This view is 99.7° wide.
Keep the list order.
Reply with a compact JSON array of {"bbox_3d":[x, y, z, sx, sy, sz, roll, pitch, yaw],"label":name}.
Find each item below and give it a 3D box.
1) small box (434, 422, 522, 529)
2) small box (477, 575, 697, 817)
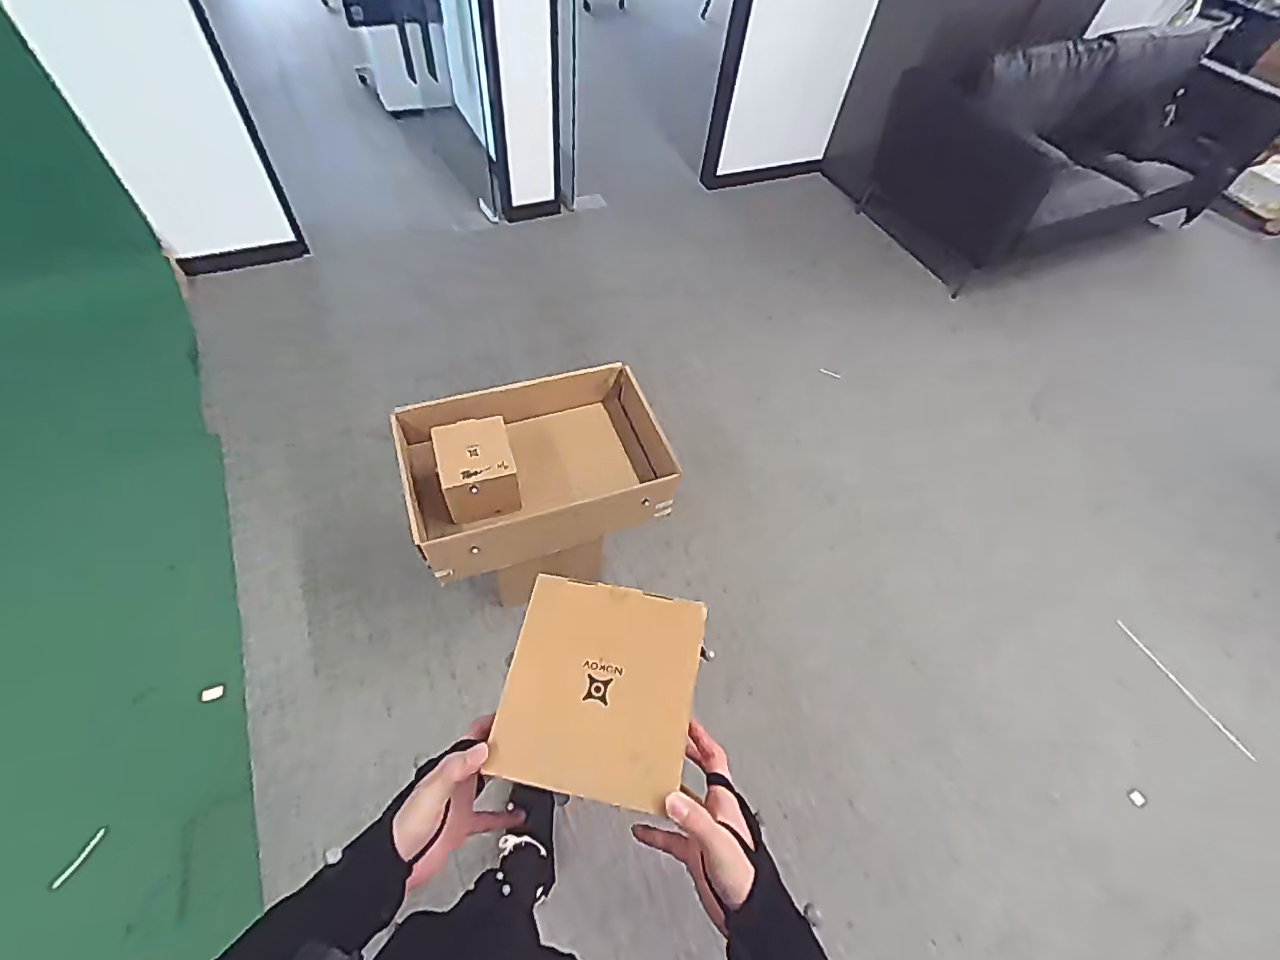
[{"bbox_3d":[-0.384,-0.009,1.293,0.168,0.176,0.179,-13,58,-15],"label":"small box"},{"bbox_3d":[-0.035,0.216,0.545,0.168,0.176,0.179,8,63,9],"label":"small box"}]
